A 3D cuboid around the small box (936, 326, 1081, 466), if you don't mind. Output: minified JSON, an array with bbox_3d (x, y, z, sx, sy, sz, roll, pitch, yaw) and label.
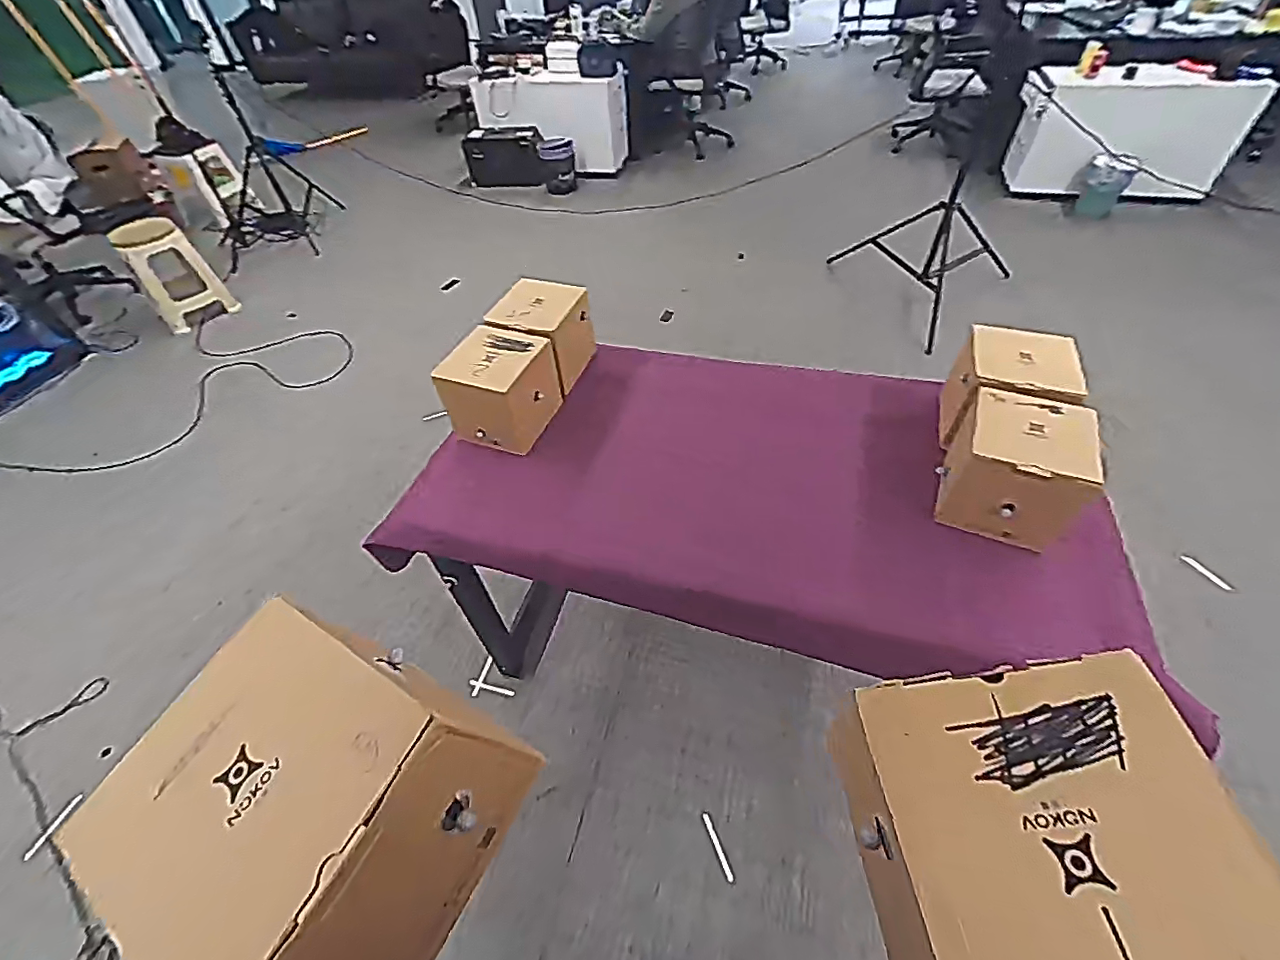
[{"bbox_3d":[0.664,-0.156,1.000,0.168,0.176,0.179,14,50,15],"label":"small box"}]

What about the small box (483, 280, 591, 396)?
[{"bbox_3d":[-0.217,-0.316,1.203,0.168,0.176,0.179,13,51,15],"label":"small box"}]

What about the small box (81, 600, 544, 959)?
[{"bbox_3d":[-0.197,0.215,0.372,0.179,0.176,0.168,19,62,28],"label":"small box"}]

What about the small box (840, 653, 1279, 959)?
[{"bbox_3d":[0.238,0.231,0.342,0.168,0.176,0.179,-11,54,6],"label":"small box"}]
